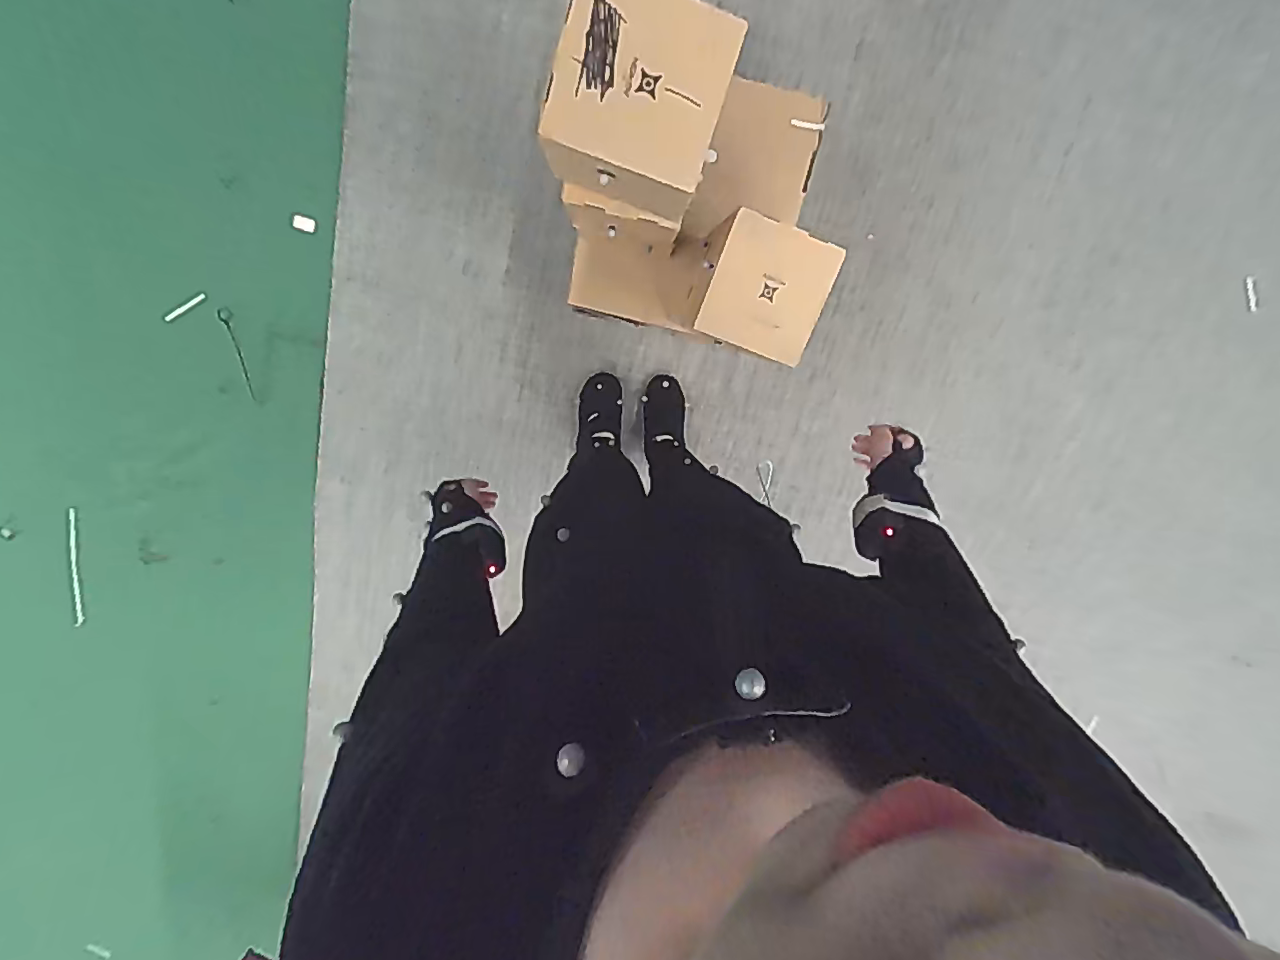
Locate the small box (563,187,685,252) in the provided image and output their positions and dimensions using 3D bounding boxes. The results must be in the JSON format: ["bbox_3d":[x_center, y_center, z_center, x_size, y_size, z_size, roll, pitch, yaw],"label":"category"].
[{"bbox_3d":[-0.010,-0.453,0.790,0.168,0.176,0.179,13,105,-5],"label":"small box"}]

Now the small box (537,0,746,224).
[{"bbox_3d":[-0.003,-0.419,0.629,0.179,0.176,0.168,18,104,-7],"label":"small box"}]

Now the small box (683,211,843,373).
[{"bbox_3d":[0.175,-0.283,0.840,0.168,0.176,0.179,20,104,-7],"label":"small box"}]

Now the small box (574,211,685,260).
[{"bbox_3d":[-0.011,-0.495,0.948,0.179,0.176,0.168,11,103,-4],"label":"small box"}]
